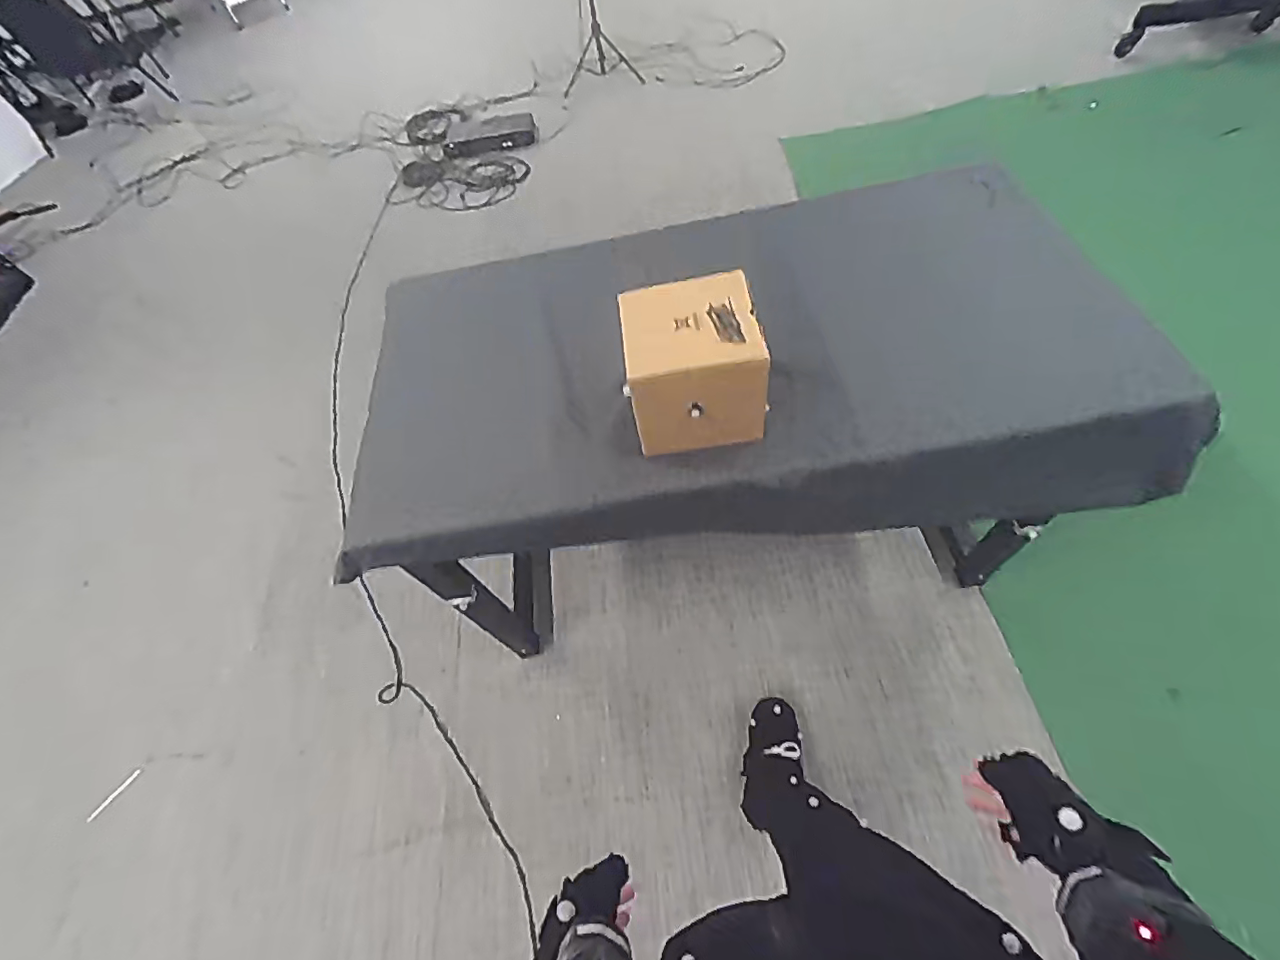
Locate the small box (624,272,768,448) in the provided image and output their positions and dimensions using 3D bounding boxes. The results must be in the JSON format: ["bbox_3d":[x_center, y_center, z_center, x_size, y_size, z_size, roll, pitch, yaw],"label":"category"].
[{"bbox_3d":[0.075,-0.162,0.763,0.179,0.176,0.168,-6,56,6],"label":"small box"}]
